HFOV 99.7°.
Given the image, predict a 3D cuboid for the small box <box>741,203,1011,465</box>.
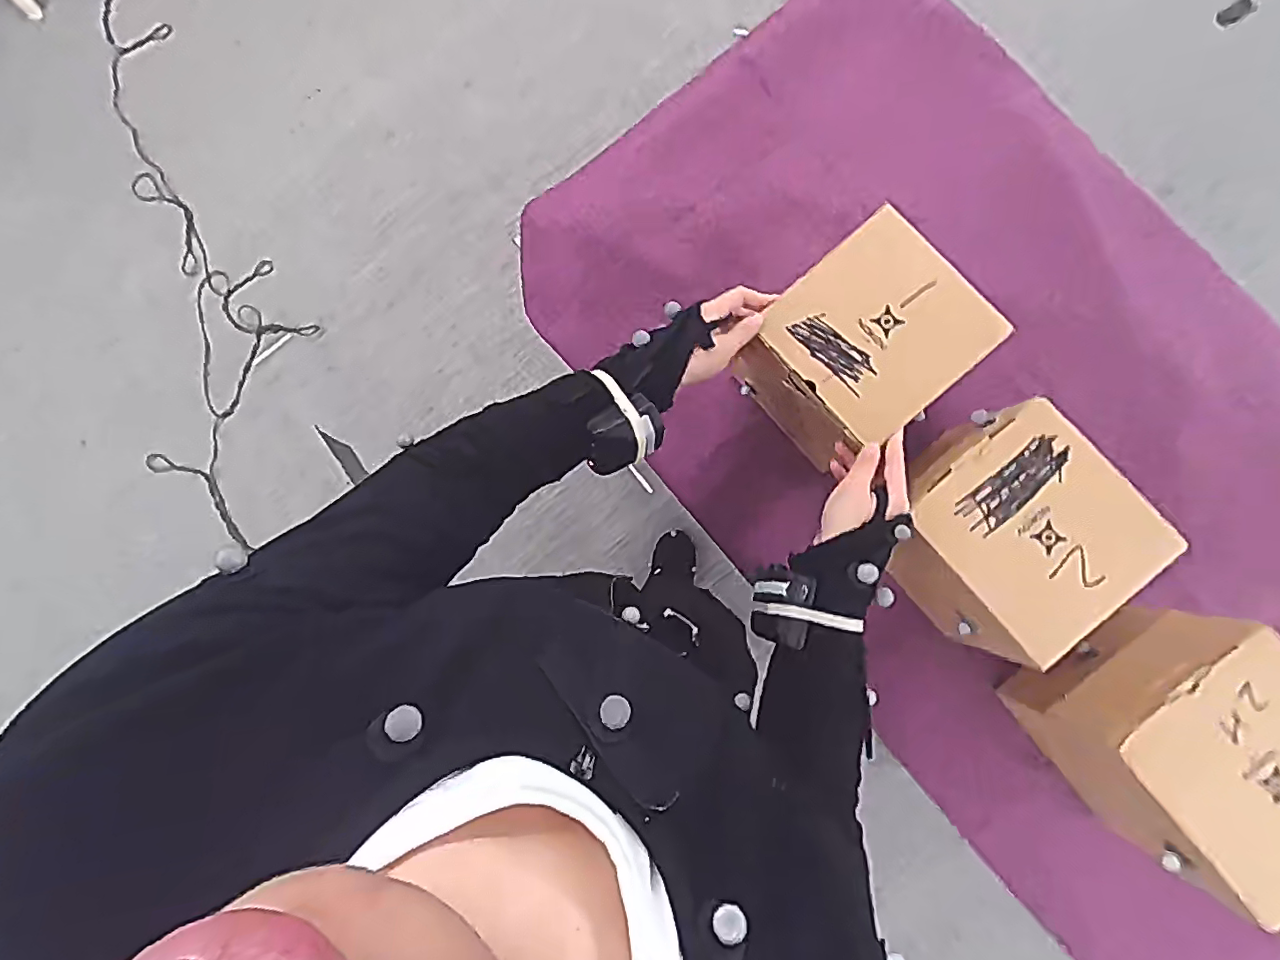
[{"bbox_3d":[0.223,-0.134,0.571,0.179,0.176,0.168,-40,84,-2],"label":"small box"}]
